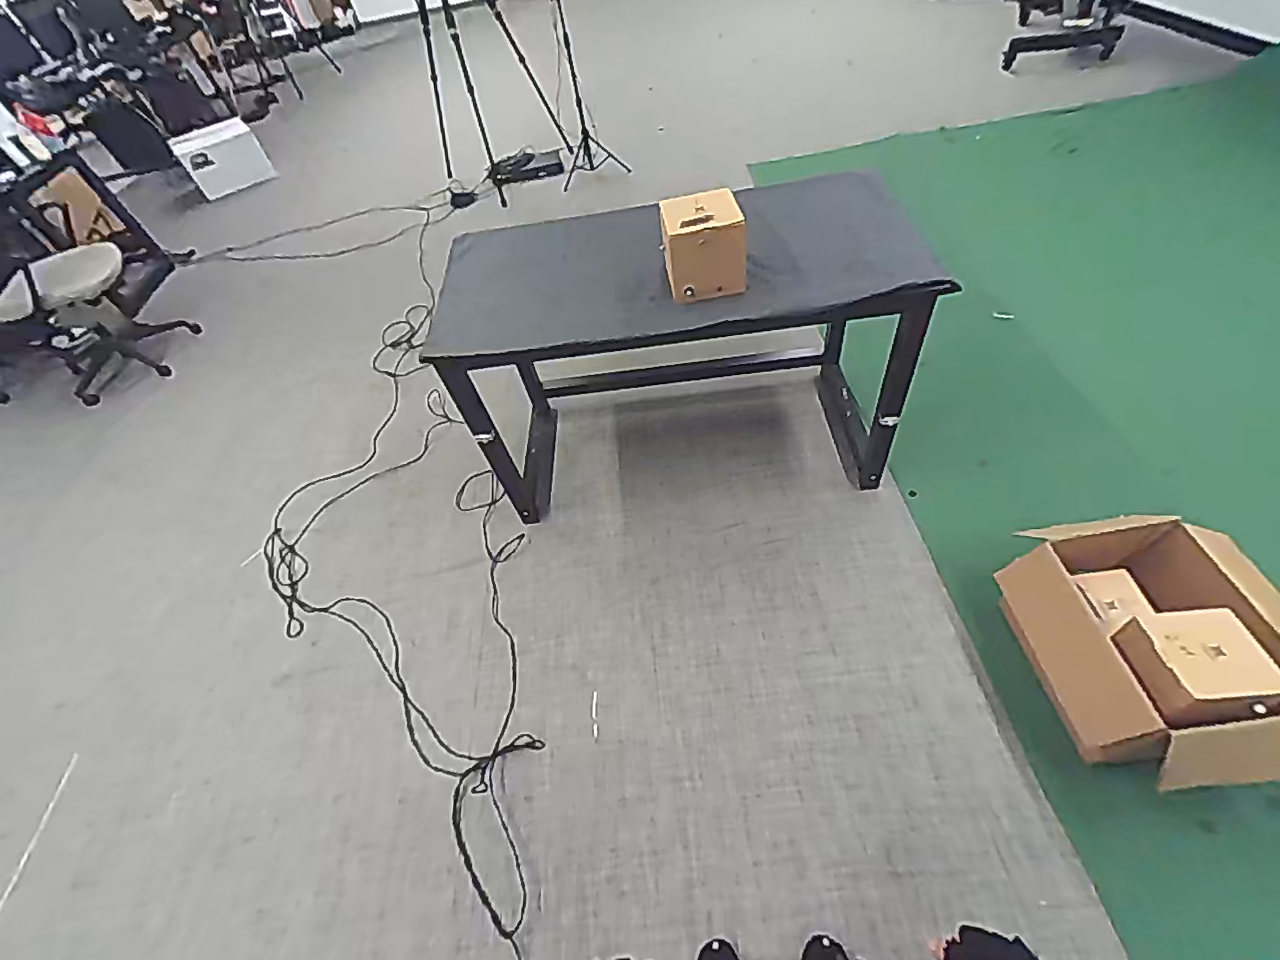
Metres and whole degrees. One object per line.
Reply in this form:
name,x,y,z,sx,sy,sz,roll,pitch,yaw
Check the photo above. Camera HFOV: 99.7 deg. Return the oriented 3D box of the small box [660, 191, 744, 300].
small box,0.146,-0.535,1.251,0.168,0.176,0.179,-9,49,3
